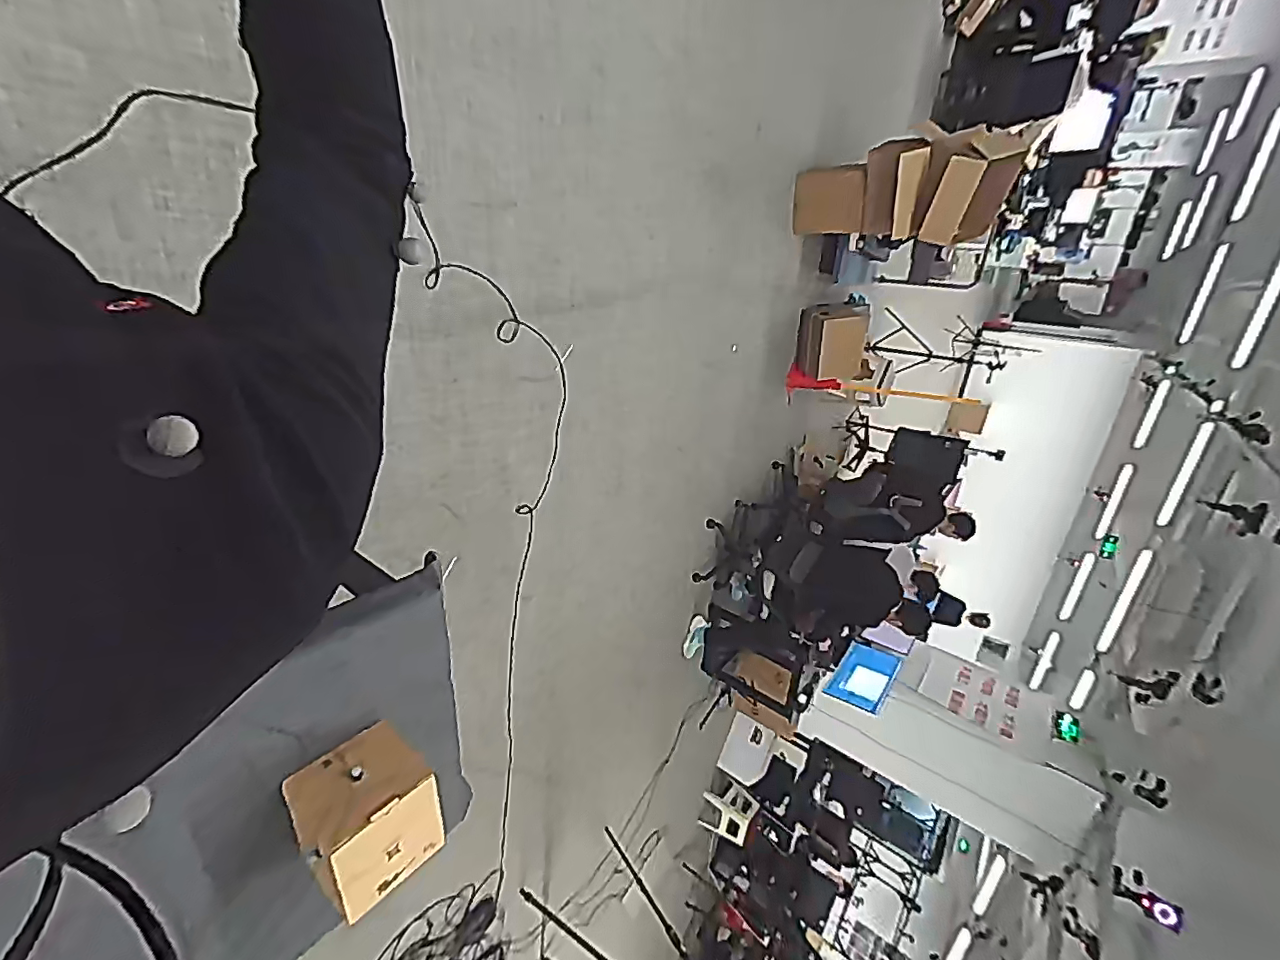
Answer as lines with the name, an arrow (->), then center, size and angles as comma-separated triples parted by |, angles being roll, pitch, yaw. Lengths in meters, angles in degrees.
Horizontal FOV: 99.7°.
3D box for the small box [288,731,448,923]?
small box -> -0.441, 0.545, 0.882 | 0.168, 0.176, 0.179 | -25, 125, -46
